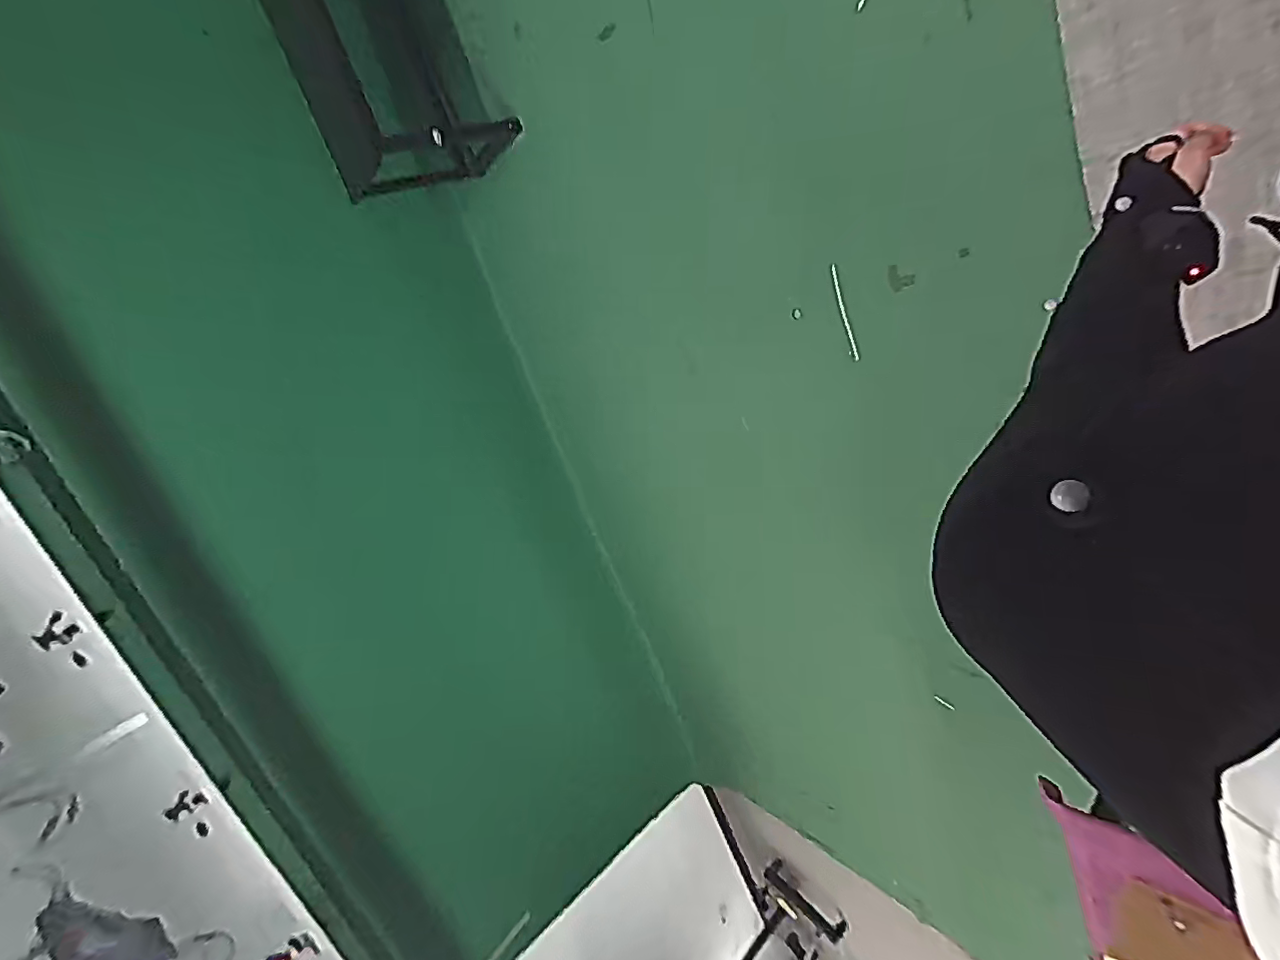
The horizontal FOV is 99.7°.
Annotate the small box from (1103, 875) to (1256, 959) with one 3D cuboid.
[{"bbox_3d":[0.958,0.864,0.954,0.168,0.176,0.179,-3,114,55],"label":"small box"}]
